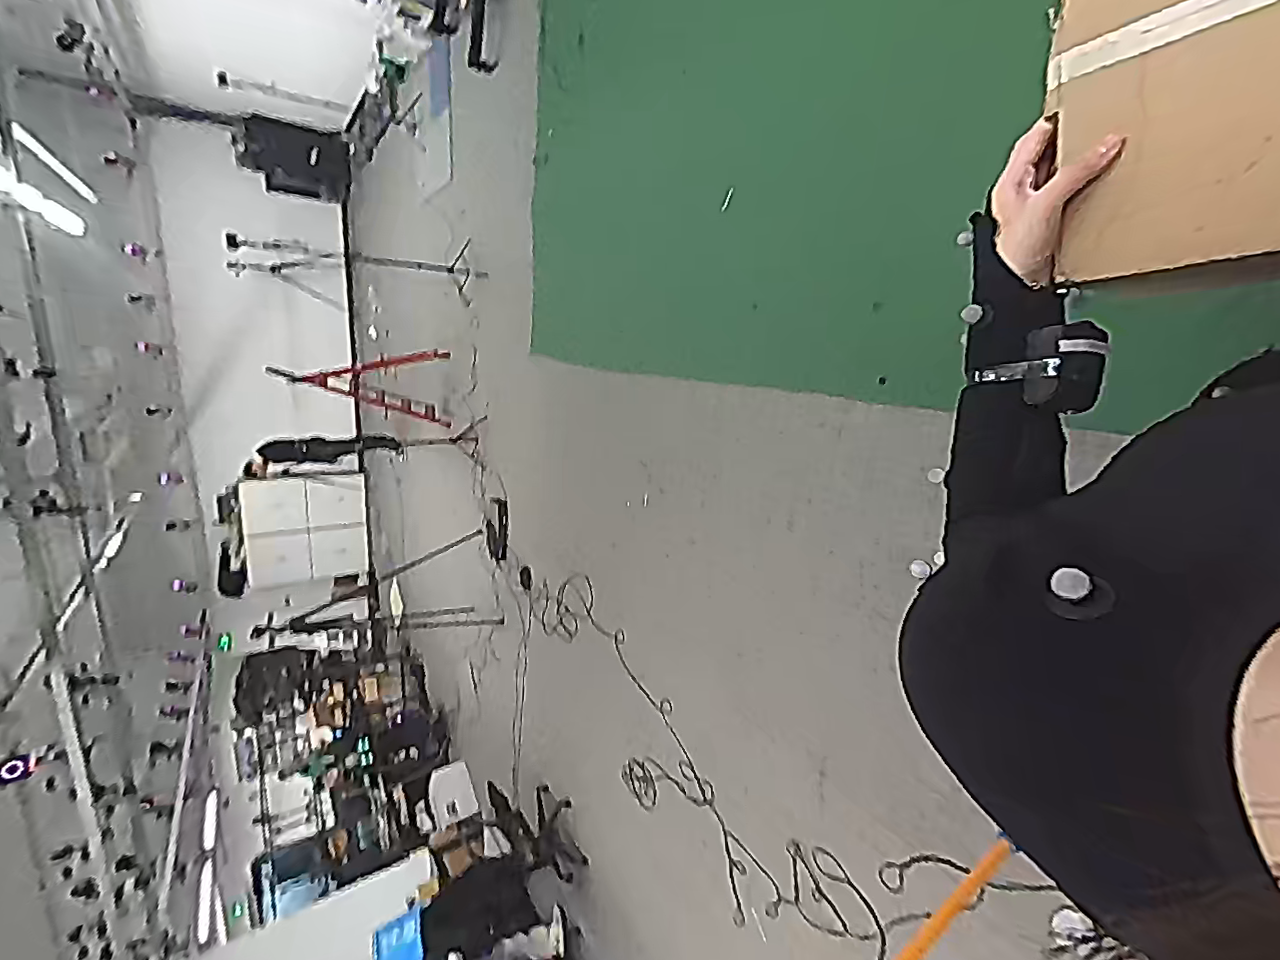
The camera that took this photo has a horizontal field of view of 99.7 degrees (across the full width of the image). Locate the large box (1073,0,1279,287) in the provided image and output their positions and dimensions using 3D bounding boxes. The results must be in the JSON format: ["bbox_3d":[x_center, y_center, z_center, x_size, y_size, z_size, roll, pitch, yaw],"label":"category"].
[{"bbox_3d":[0.564,-0.330,0.348,0.408,0.320,0.320,6,106,48],"label":"large box"}]
